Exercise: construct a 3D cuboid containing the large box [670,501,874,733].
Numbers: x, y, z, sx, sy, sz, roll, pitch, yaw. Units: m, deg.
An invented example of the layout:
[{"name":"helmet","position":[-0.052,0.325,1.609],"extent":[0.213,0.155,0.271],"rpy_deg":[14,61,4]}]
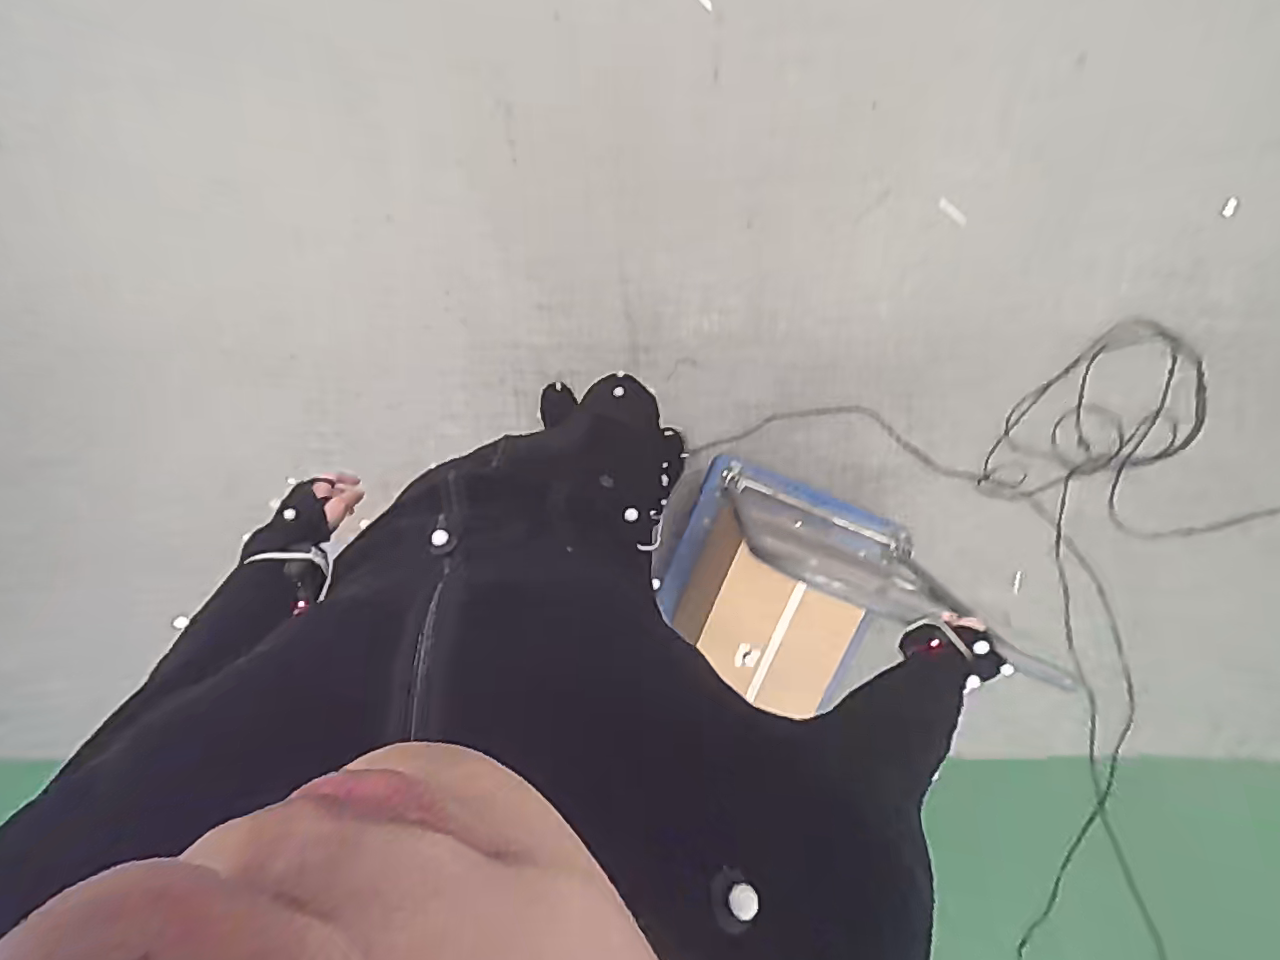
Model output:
[{"name":"large box","position":[0.292,0.311,1.320],"extent":[0.320,0.320,0.408],"rpy_deg":[21,100,-4]}]
